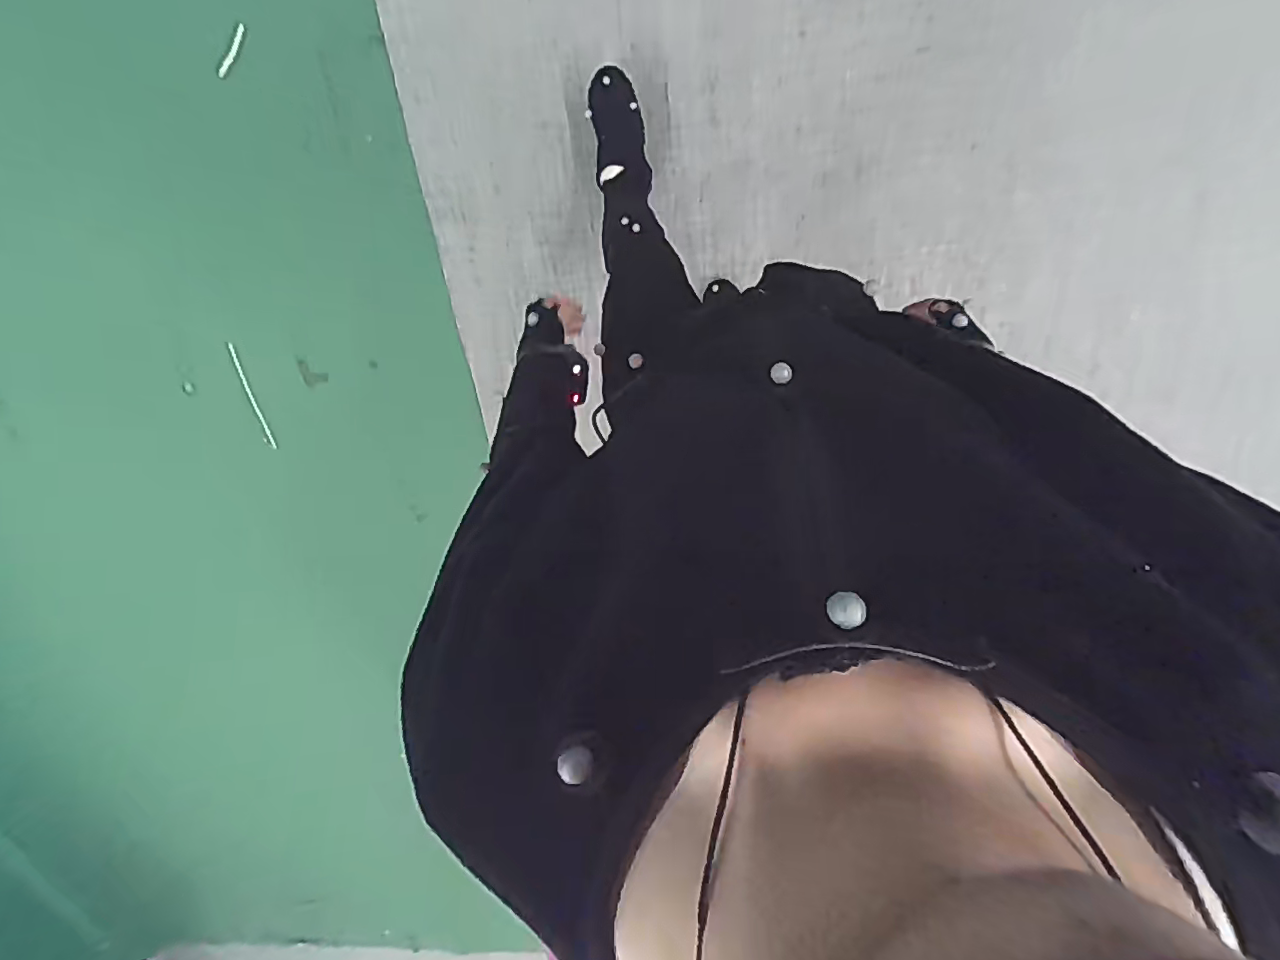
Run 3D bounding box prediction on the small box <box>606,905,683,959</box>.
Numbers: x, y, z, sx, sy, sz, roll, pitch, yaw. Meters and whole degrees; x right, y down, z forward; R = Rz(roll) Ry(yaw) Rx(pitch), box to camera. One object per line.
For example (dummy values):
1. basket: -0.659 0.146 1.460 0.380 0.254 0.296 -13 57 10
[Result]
1. small box: 0.006 1.163 1.305 0.179 0.176 0.168 5 119 -1
